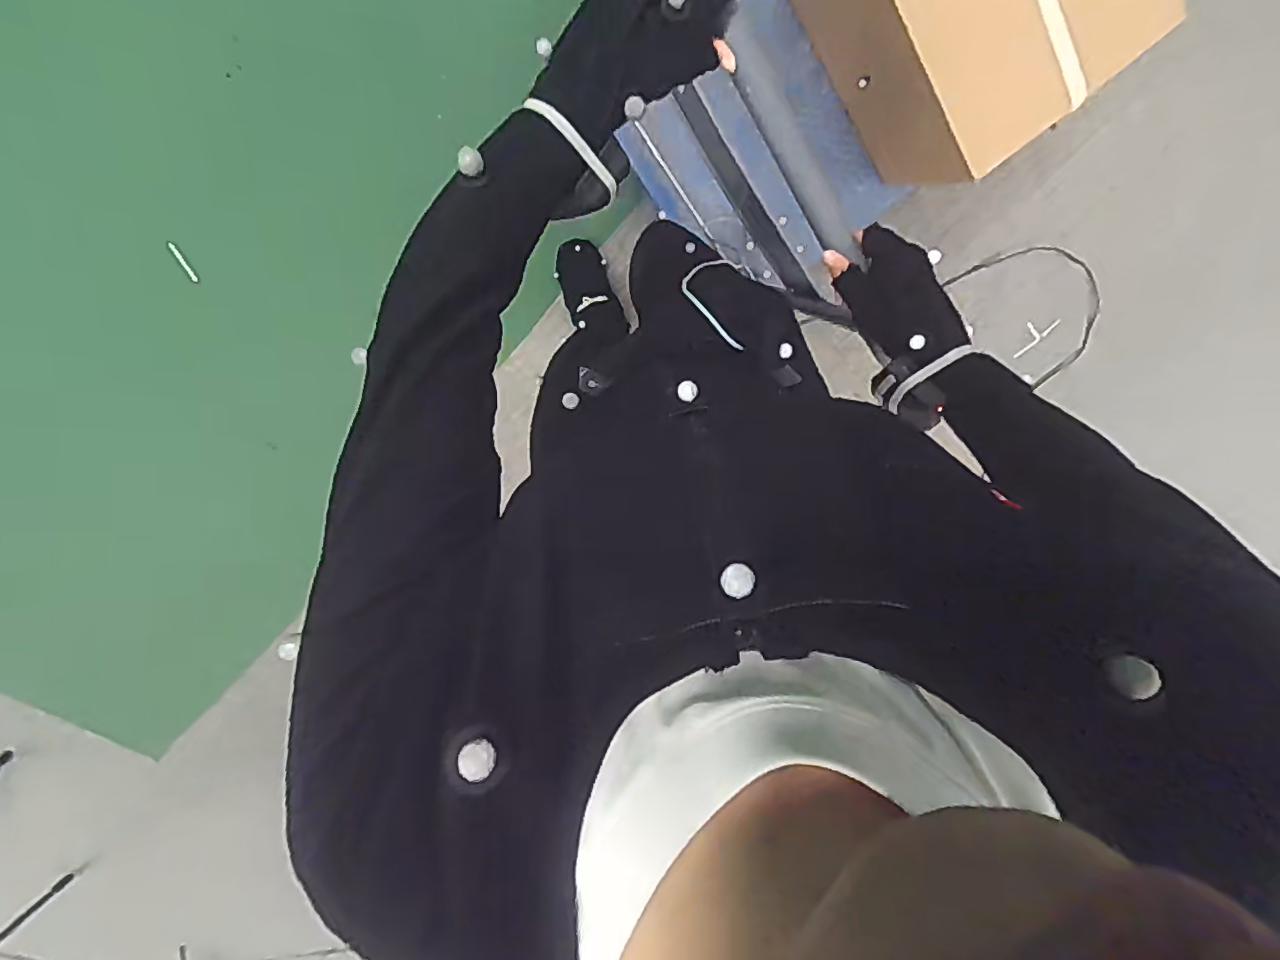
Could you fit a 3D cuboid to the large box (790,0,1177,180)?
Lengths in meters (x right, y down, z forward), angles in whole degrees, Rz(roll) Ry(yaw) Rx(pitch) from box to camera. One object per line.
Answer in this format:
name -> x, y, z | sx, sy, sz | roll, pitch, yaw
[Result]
large box -> 0.487, -0.746, 0.836 | 0.320, 0.320, 0.408 | -36, 112, 15
